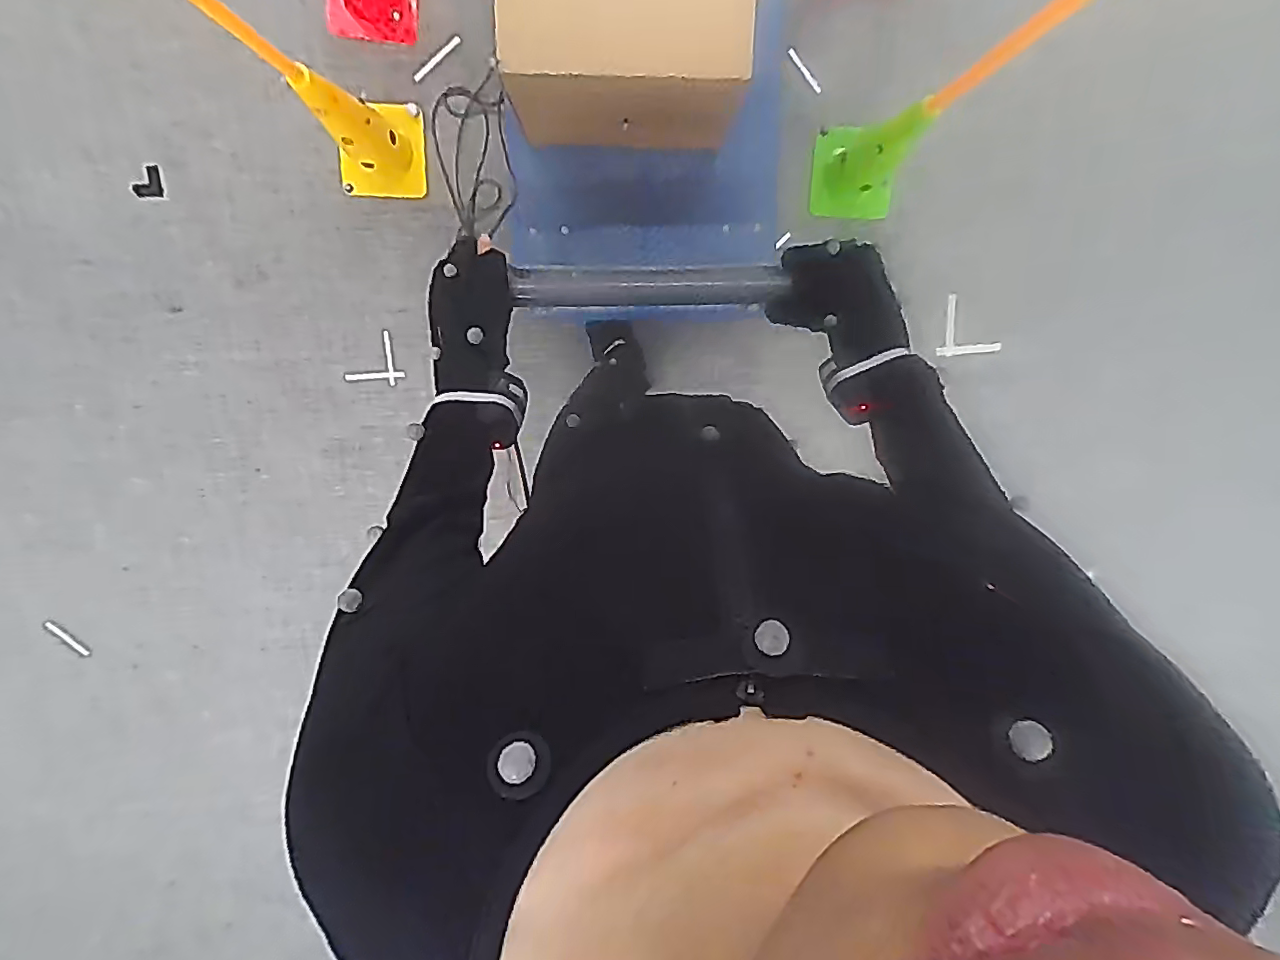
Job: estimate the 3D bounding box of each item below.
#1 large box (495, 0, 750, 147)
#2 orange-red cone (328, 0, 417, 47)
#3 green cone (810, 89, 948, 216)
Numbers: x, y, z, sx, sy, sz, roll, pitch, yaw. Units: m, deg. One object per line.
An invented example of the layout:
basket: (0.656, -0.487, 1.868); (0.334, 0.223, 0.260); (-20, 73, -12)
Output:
large box: (-0.028, -0.818, 0.972); (0.408, 0.320, 0.320); (0, 103, -1)
orange-red cone: (-0.596, -1.067, 1.052); (0.198, 0.360, 0.199); (5, 101, -3)
green cone: (0.527, -0.720, 1.152); (0.202, 0.368, 0.200); (1, 102, -3)
